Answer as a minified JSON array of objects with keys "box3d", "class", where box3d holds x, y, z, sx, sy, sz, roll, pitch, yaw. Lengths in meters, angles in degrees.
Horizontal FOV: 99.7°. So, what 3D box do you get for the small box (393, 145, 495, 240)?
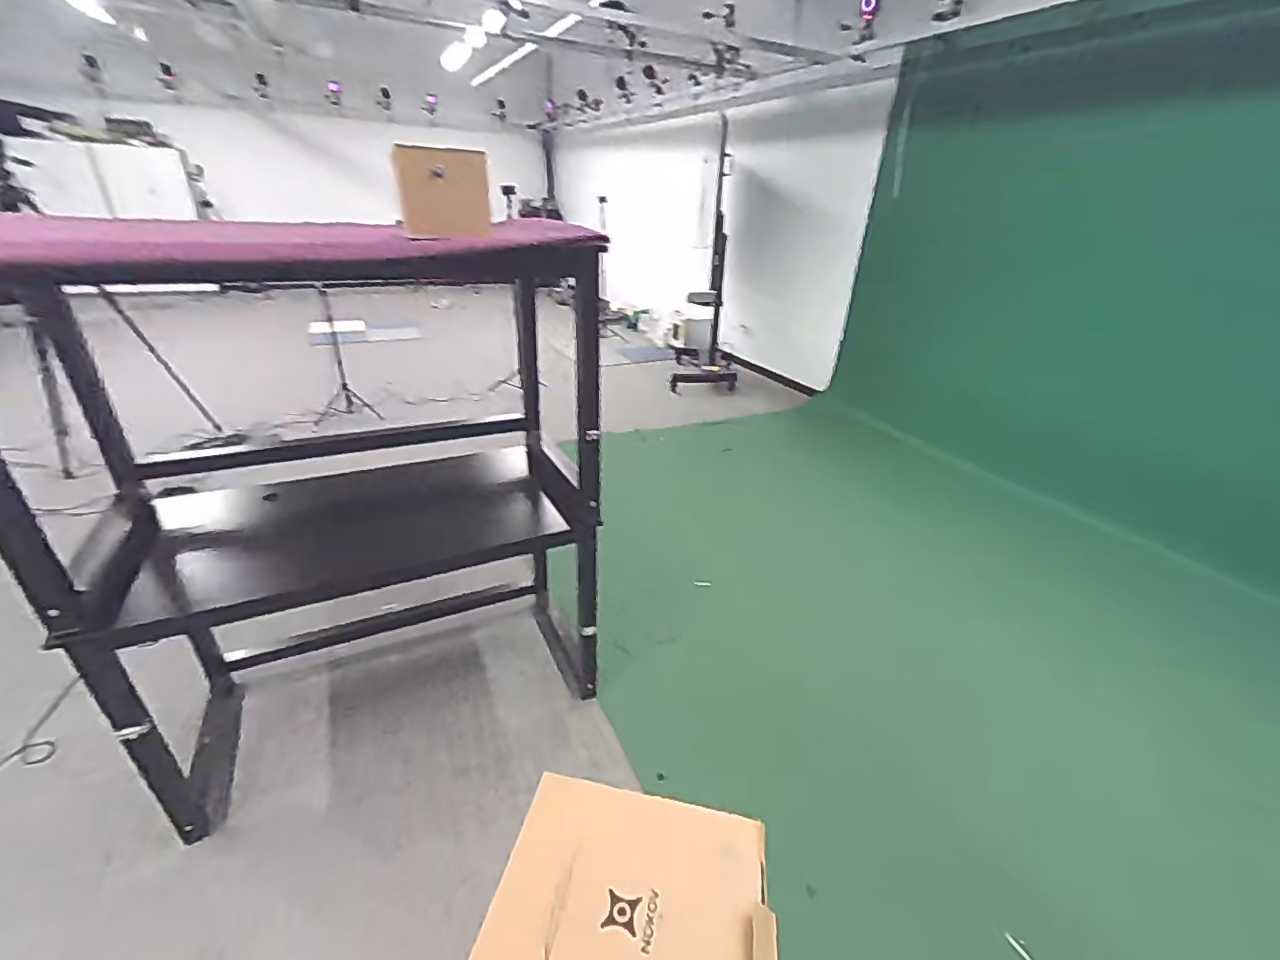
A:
[{"box3d":[-0.422,-0.612,1.168,0.179,0.176,0.168,-10,28,-23],"class":"small box"}]
